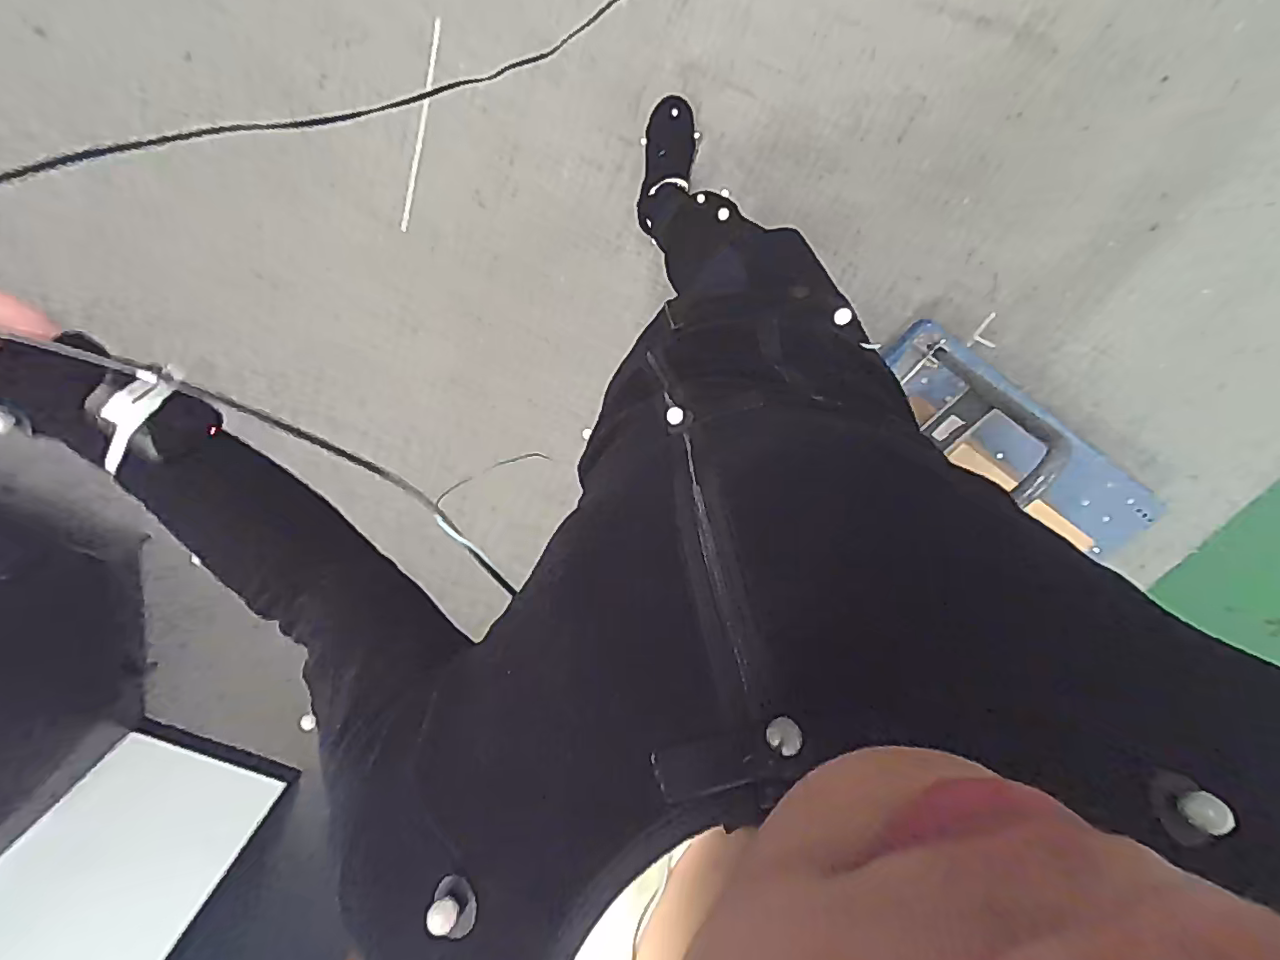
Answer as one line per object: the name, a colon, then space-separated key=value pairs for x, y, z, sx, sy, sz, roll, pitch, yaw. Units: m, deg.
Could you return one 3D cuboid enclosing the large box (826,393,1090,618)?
large box: x=0.735 y=0.053 z=1.320 sx=0.408 sy=0.320 sz=0.320 roll=33 pitch=118 yaw=-11
